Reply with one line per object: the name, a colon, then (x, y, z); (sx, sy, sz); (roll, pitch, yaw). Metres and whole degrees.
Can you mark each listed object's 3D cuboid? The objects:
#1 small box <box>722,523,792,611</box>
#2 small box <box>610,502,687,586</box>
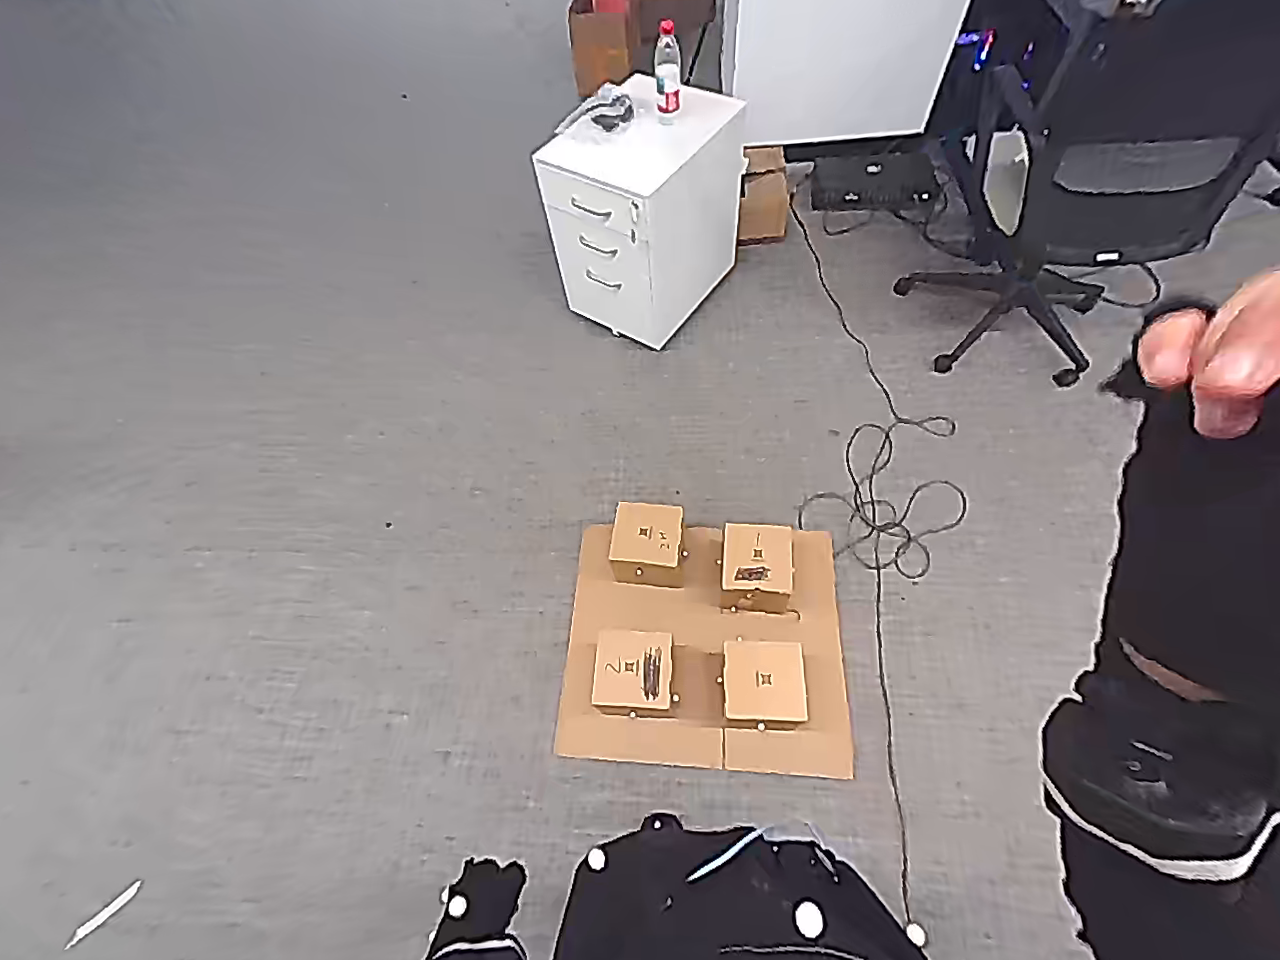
small box: (0.299, 0.227, 1.391); (0.168, 0.176, 0.179); (3, 60, 9)
small box: (0.029, 0.174, 1.446); (0.179, 0.176, 0.168); (5, 62, 9)
